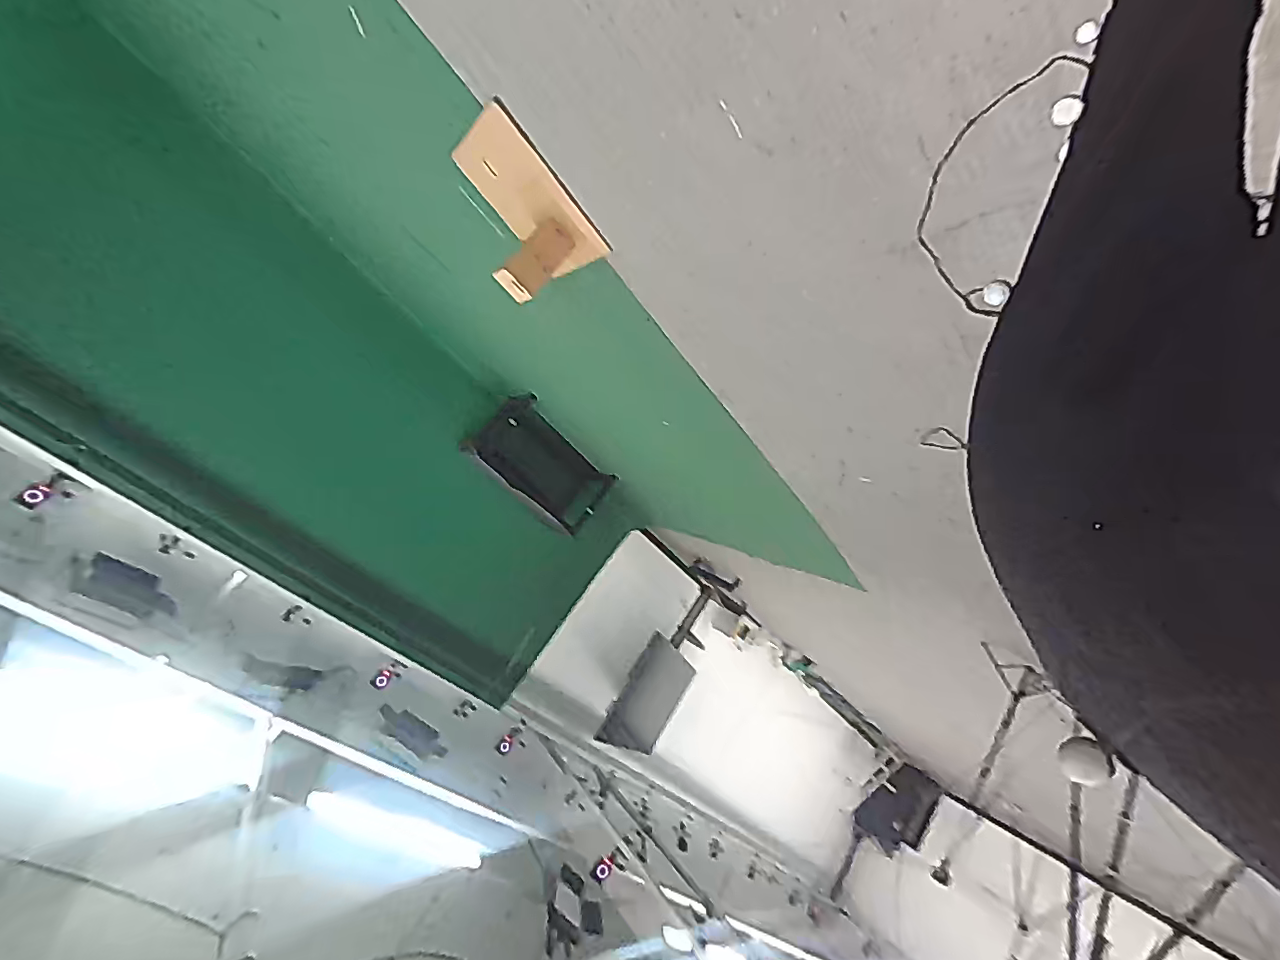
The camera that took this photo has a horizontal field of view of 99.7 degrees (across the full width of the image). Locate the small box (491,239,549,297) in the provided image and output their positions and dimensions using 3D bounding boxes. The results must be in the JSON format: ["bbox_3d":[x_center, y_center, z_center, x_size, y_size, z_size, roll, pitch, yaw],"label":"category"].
[{"bbox_3d":[-0.536,-0.957,2.441,0.168,0.176,0.179,45,163,-31],"label":"small box"}]

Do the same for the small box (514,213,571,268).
[{"bbox_3d":[-0.444,-1.087,2.482,0.168,0.176,0.179,43,163,-30],"label":"small box"}]
